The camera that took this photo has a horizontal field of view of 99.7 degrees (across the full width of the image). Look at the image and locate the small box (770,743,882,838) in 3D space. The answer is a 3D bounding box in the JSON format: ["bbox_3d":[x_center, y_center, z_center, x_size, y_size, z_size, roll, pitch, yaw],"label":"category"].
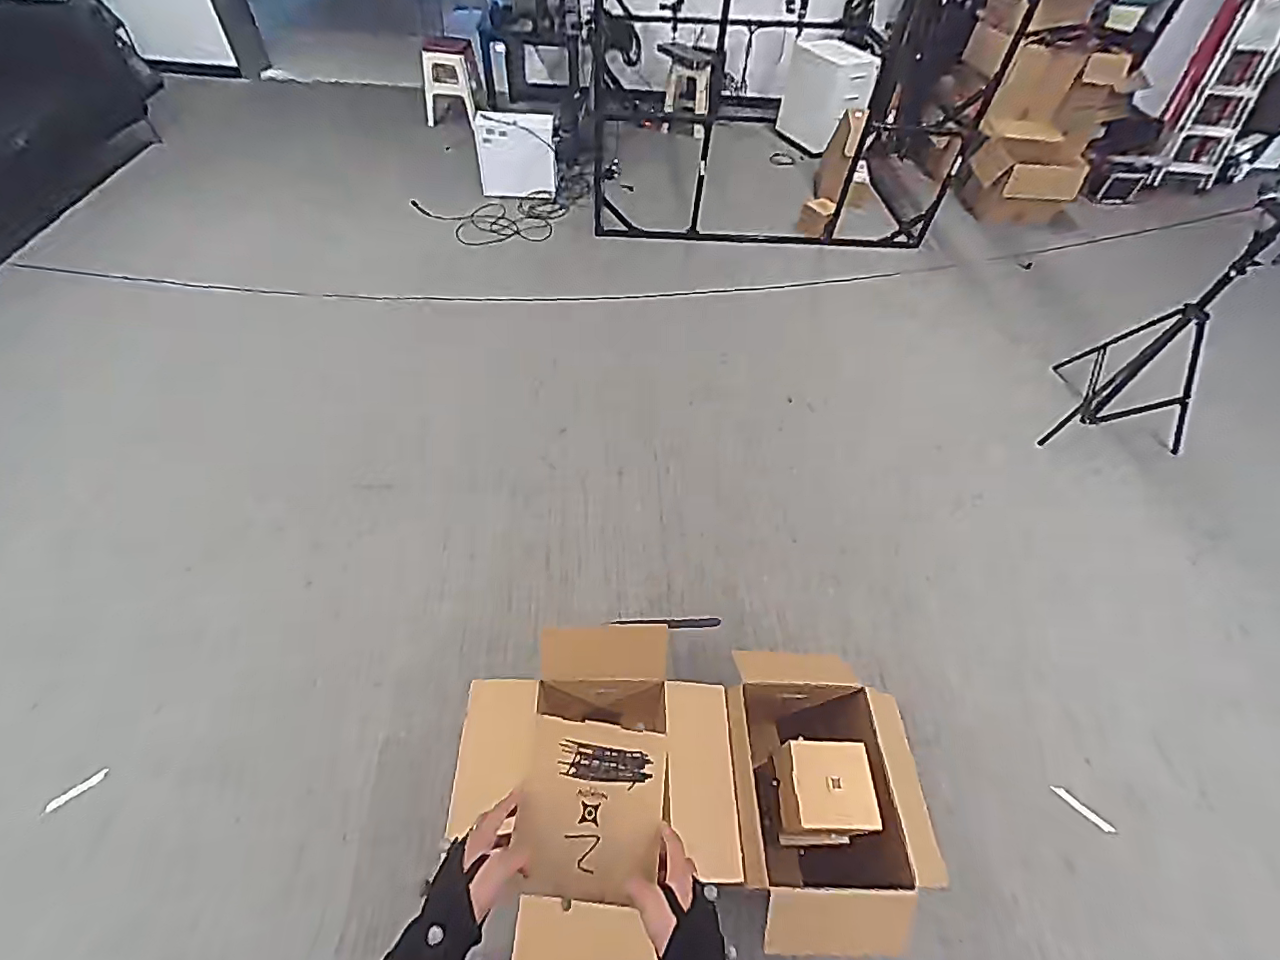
[{"bbox_3d":[0.406,0.697,1.212,0.179,0.176,0.168,3,54,-3],"label":"small box"}]
